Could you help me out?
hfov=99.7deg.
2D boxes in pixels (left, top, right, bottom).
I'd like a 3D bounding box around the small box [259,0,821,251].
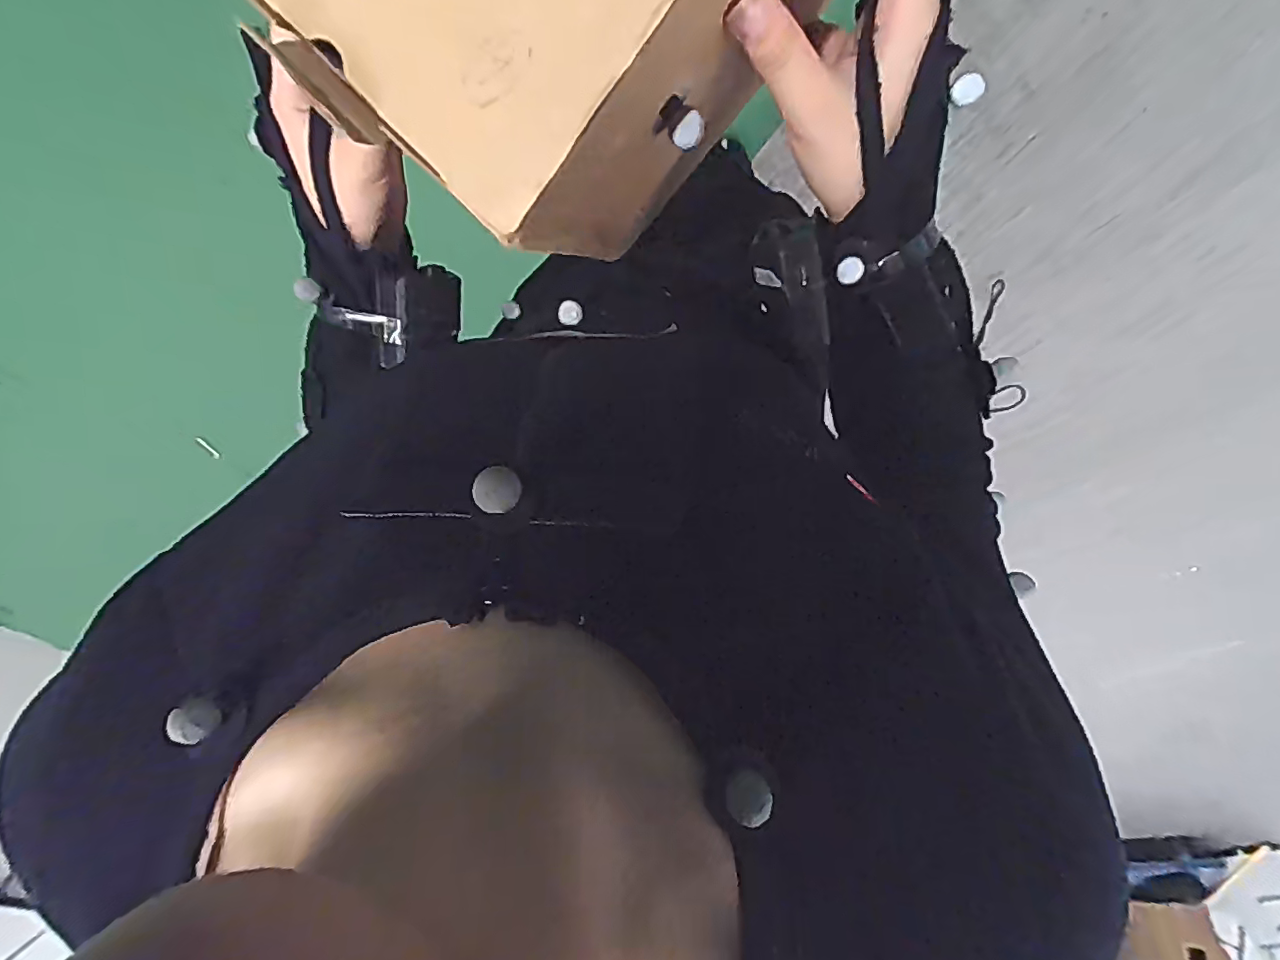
[{"bbox_3d":[-0.029,-0.220,0.231,0.168,0.176,0.179,44,113,-6],"label":"small box"}]
